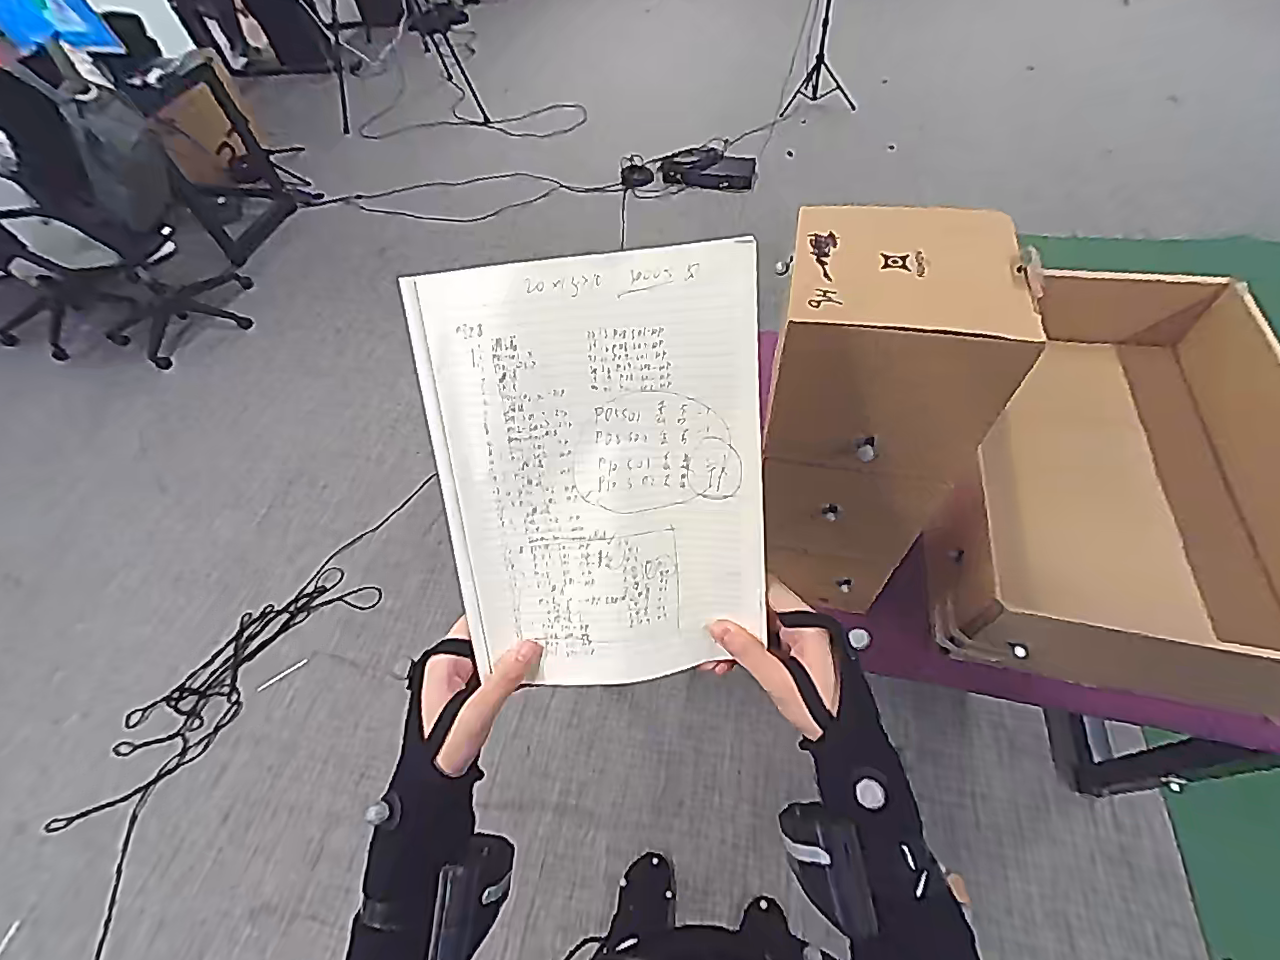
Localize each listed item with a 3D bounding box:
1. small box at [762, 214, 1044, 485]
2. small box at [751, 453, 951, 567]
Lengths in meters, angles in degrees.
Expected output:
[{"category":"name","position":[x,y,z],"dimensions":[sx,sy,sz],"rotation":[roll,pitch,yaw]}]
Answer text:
[{"category":"small box","position":[0.217,-0.114,0.493],"dimensions":[0.179,0.176,0.168],"rotation":[9,54,11]},{"category":"small box","position":[0.232,-0.016,0.625],"dimensions":[0.179,0.176,0.168],"rotation":[8,54,13]}]
